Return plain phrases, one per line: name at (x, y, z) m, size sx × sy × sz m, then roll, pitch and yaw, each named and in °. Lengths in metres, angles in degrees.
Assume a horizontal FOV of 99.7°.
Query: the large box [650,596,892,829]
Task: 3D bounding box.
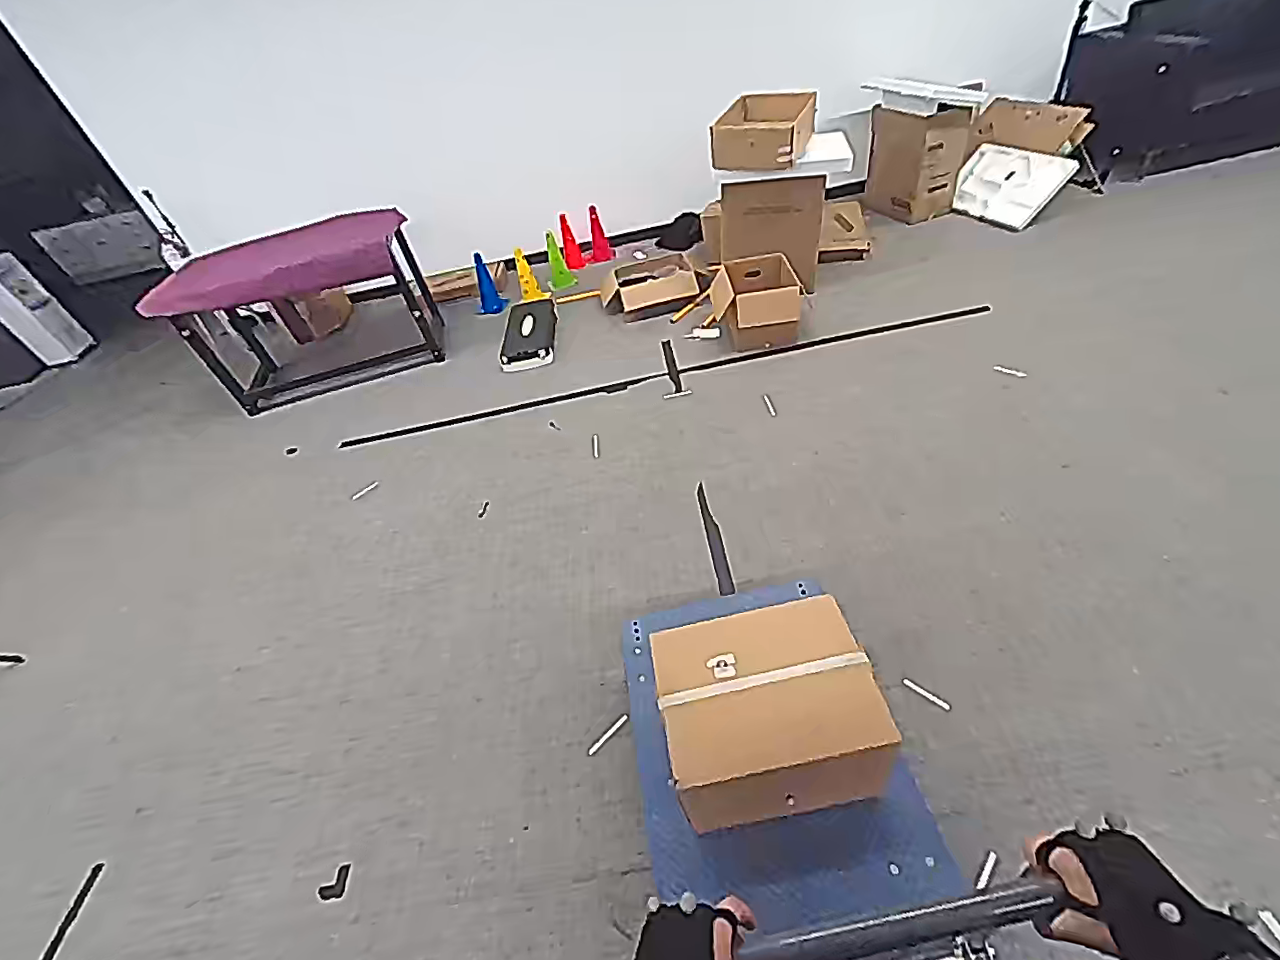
large box at (0.265, 0.506, 1.171) m, size 0.408 × 0.320 × 0.320 m, roll -14°, pitch 42°, yaw 2°
